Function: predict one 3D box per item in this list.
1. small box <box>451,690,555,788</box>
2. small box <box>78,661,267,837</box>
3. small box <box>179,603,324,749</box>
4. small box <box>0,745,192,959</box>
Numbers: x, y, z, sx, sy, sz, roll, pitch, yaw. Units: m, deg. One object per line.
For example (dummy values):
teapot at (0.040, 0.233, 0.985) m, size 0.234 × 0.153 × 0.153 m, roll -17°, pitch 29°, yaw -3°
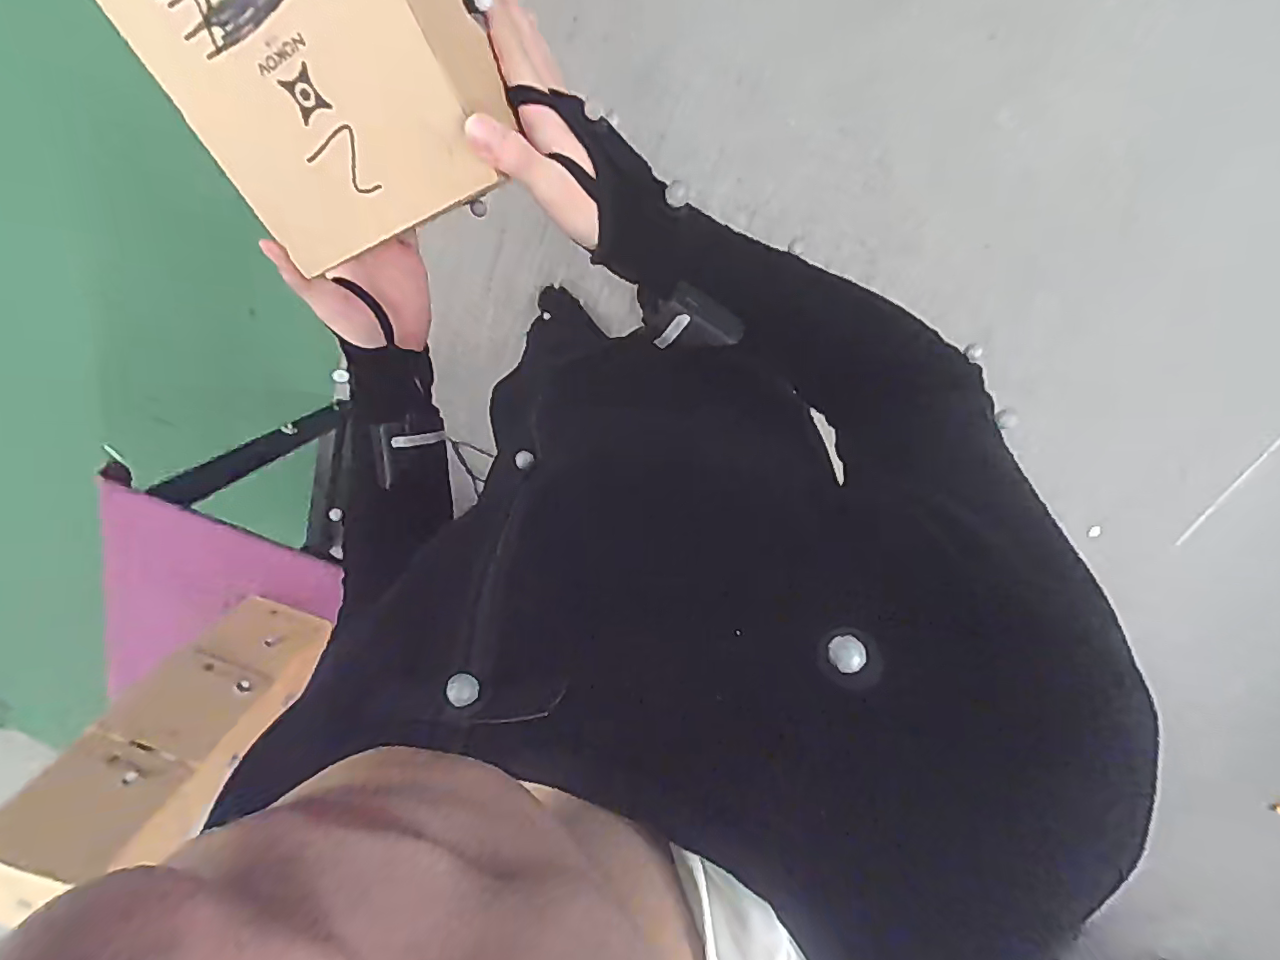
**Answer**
small box at (-0.279, 0.559, 1.079) m, size 0.168 × 0.176 × 0.179 m, roll 17°, pitch 115°, yaw -3°
small box at (-0.748, 0.430, 0.882) m, size 0.168 × 0.176 × 0.179 m, roll 23°, pitch 116°, yaw -6°
small box at (-0.736, 0.368, 1.034) m, size 0.168 × 0.176 × 0.179 m, roll 21°, pitch 116°, yaw -5°
small box at (-0.761, 0.506, 0.738) m, size 0.168 × 0.176 × 0.179 m, roll 24°, pitch 115°, yaw -7°
